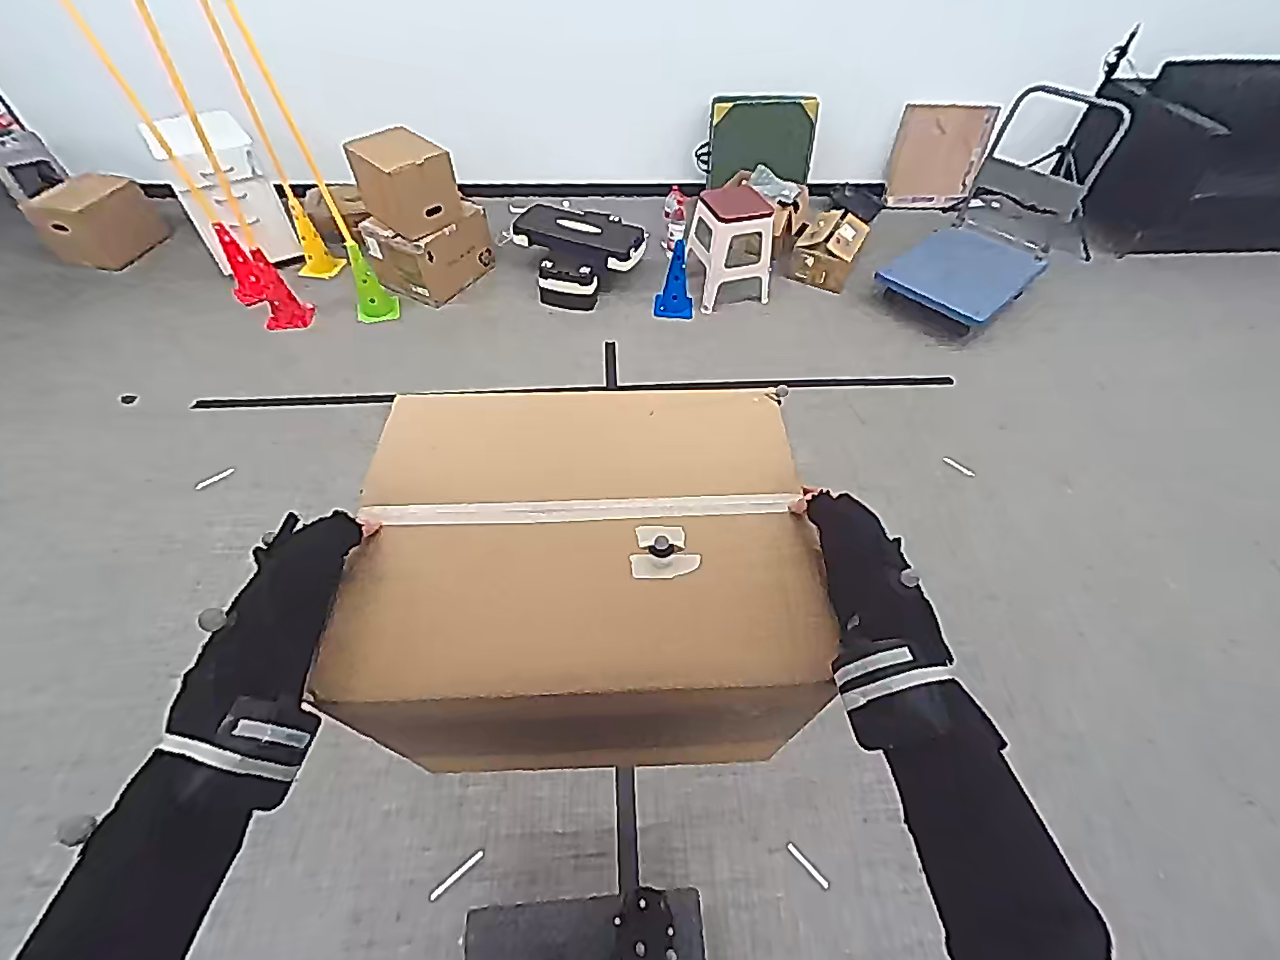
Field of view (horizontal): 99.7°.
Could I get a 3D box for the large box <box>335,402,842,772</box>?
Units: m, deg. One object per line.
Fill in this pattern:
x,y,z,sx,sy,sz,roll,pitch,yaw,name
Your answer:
-0.047,0.129,0.624,0.408,0.320,0.320,-1,53,-2,large box
